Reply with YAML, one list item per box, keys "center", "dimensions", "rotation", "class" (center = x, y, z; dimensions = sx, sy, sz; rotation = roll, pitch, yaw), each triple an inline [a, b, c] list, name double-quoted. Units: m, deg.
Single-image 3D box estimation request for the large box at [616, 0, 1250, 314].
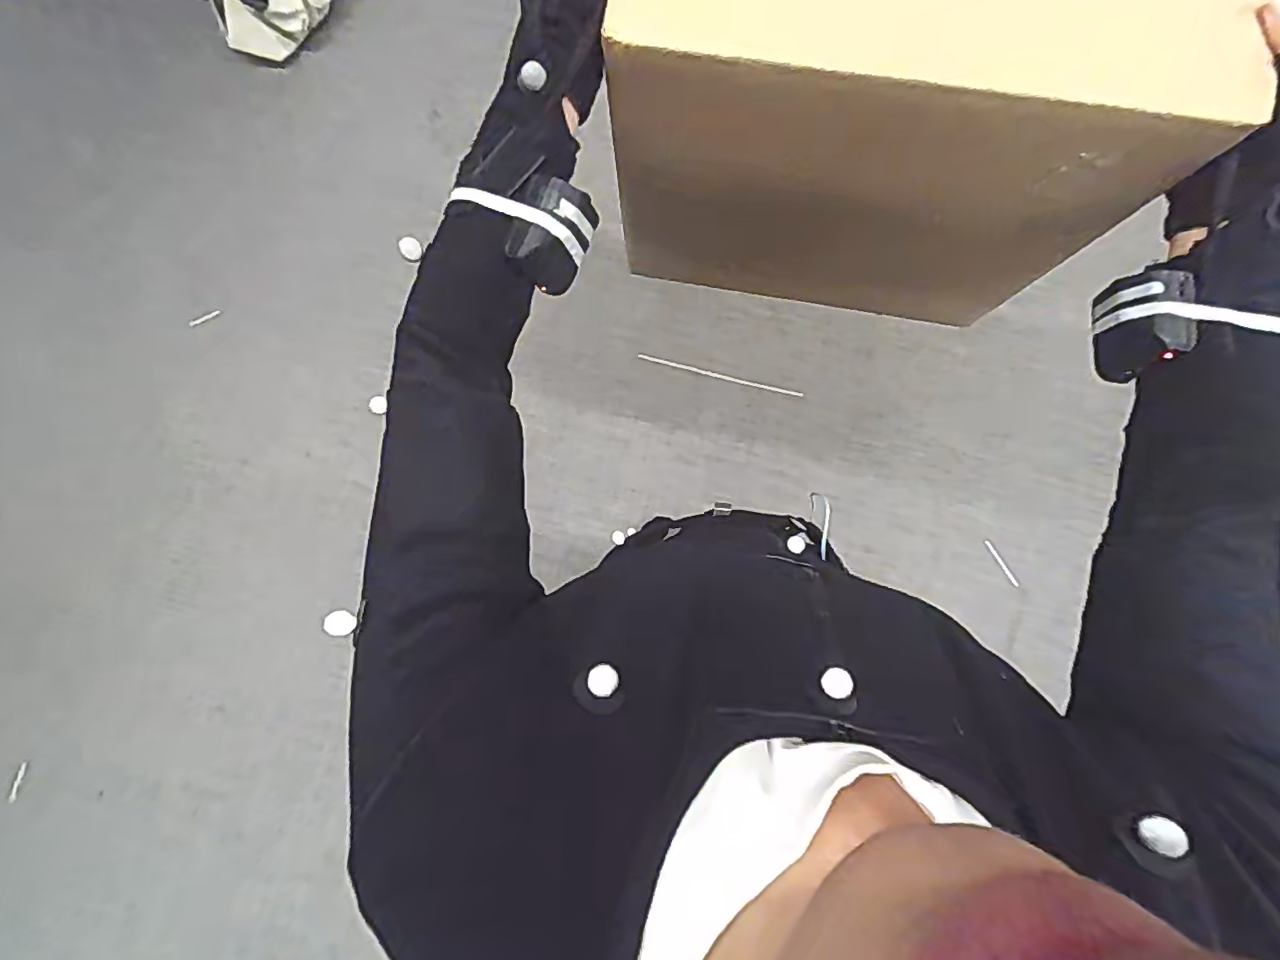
- center: [0.203, -0.384, 0.508]
  dimensions: [0.408, 0.320, 0.320]
  rotation: [9, 85, 2]
  class: "large box"
